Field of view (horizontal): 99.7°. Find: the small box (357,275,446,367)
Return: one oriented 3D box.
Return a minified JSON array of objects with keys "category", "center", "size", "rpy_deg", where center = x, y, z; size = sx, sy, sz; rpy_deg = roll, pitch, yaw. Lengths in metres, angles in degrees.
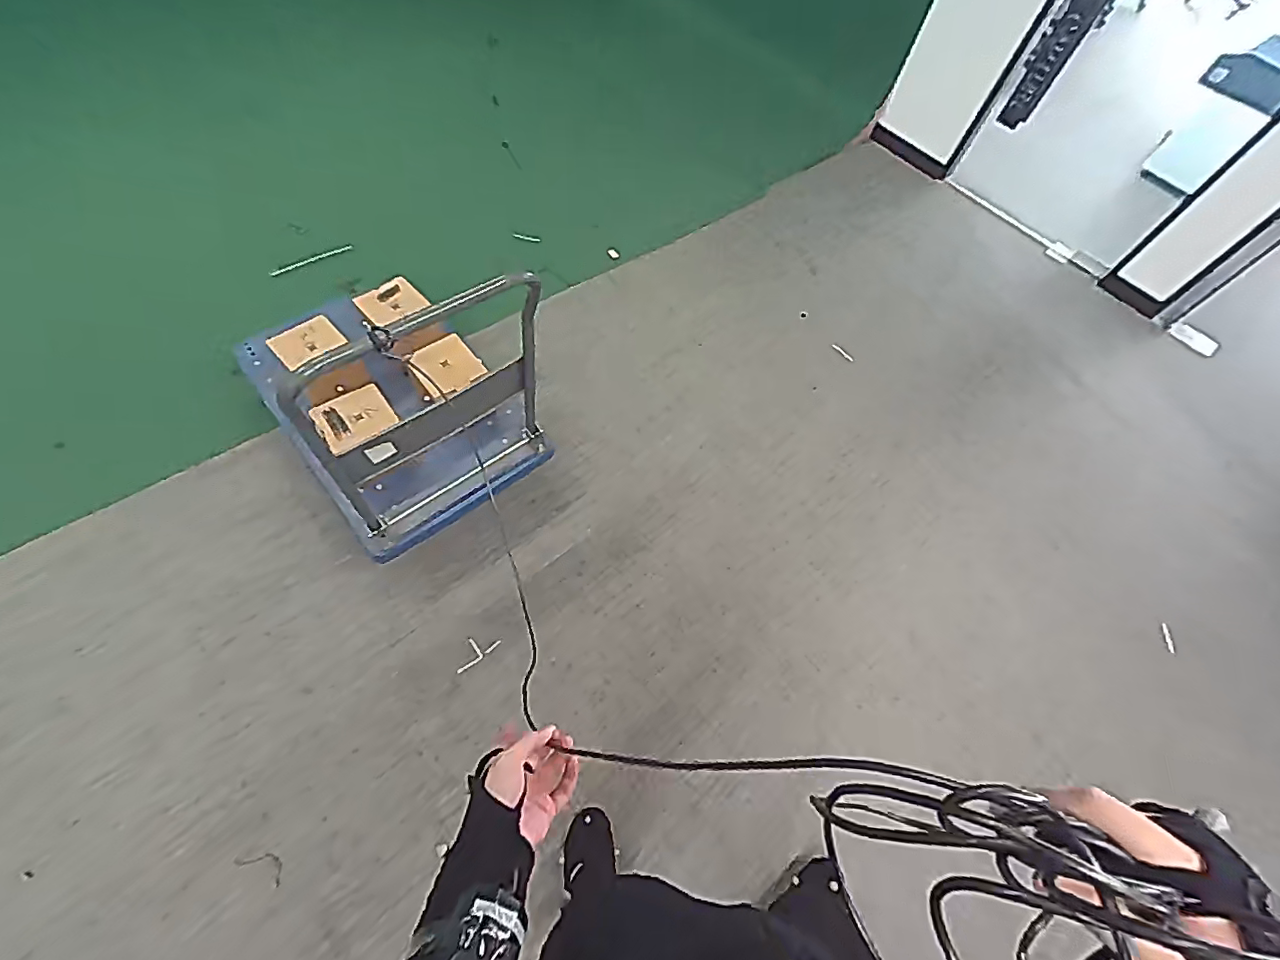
[{"category":"small box","center":[-0.713,-0.477,1.637],"size":[0.168,0.176,0.179],"rpy_deg":[-39,74,-24]}]

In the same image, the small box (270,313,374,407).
[{"category":"small box","center":[-0.890,-0.331,1.533],"size":[0.168,0.176,0.179],"rpy_deg":[-39,73,-25]}]

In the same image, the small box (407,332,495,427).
[{"category":"small box","center":[-0.538,-0.286,1.559],"size":[0.168,0.176,0.179],"rpy_deg":[-34,72,-23]}]
